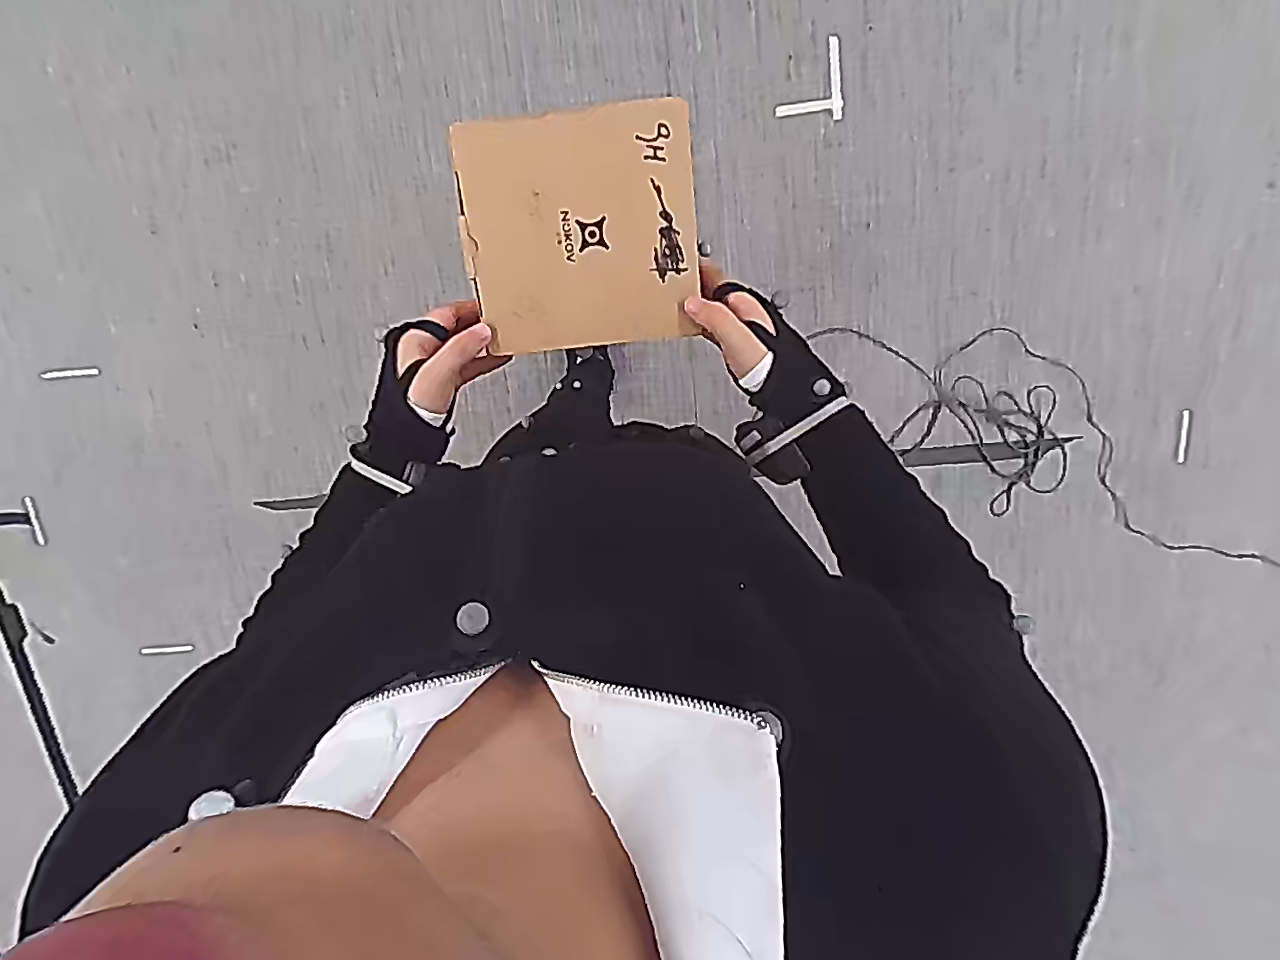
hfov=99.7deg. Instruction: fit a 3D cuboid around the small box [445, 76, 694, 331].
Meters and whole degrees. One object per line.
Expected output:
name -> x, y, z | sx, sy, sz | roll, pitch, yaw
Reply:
small box -> -0.047, -0.224, 0.485 | 0.179, 0.176, 0.168 | -5, 107, 2
